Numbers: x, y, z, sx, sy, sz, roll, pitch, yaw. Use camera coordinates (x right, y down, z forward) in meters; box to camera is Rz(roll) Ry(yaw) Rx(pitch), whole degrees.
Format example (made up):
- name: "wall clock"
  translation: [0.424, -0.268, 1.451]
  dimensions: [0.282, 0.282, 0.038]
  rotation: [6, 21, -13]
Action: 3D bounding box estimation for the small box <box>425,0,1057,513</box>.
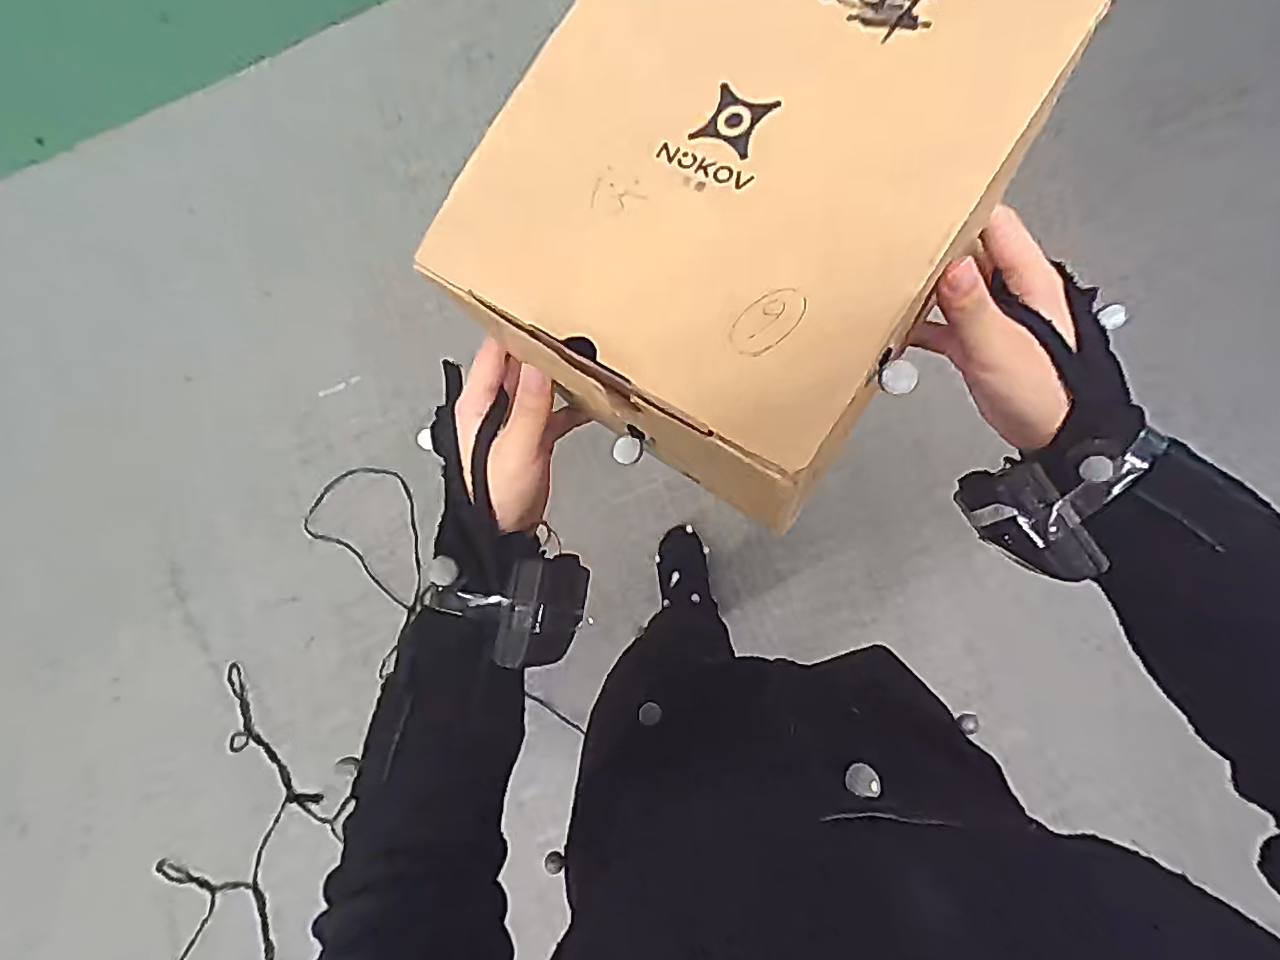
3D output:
- name: "small box"
  translation: [0.043, -0.099, 0.269]
  dimensions: [0.168, 0.176, 0.179]
  rotation: [33, 89, 17]
